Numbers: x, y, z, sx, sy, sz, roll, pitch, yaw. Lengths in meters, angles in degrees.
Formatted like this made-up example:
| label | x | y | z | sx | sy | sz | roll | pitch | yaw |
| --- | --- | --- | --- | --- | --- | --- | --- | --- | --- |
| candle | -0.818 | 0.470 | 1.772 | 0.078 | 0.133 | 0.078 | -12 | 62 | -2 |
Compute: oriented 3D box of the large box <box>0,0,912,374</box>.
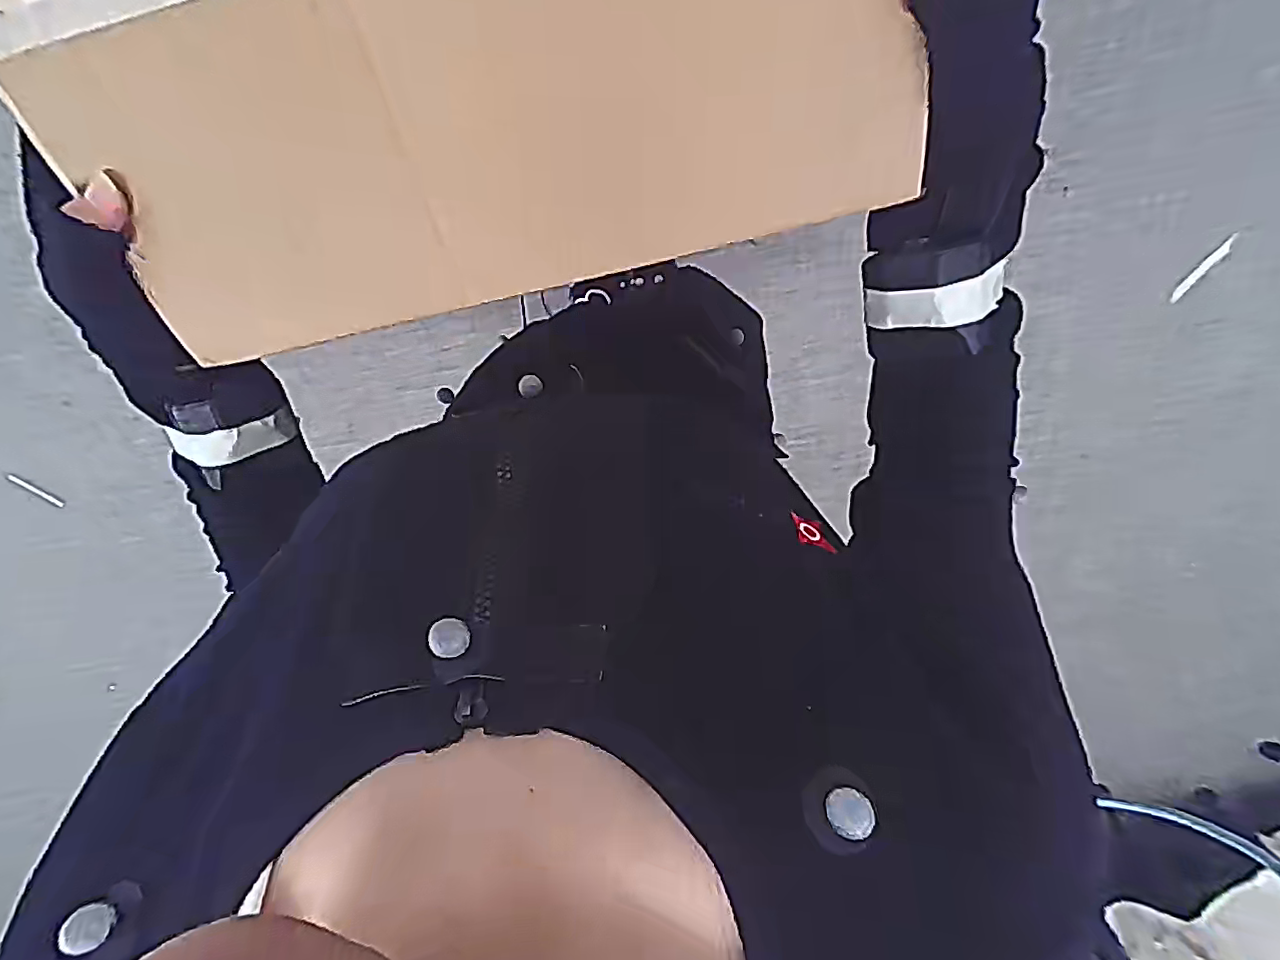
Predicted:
| label | x | y | z | sx | sy | sz | roll | pitch | yaw |
| --- | --- | --- | --- | --- | --- | --- | --- | --- | --- |
| large box | -0.091 | -0.310 | 0.341 | 0.408 | 0.320 | 0.320 | -11 | 124 | 6 |
